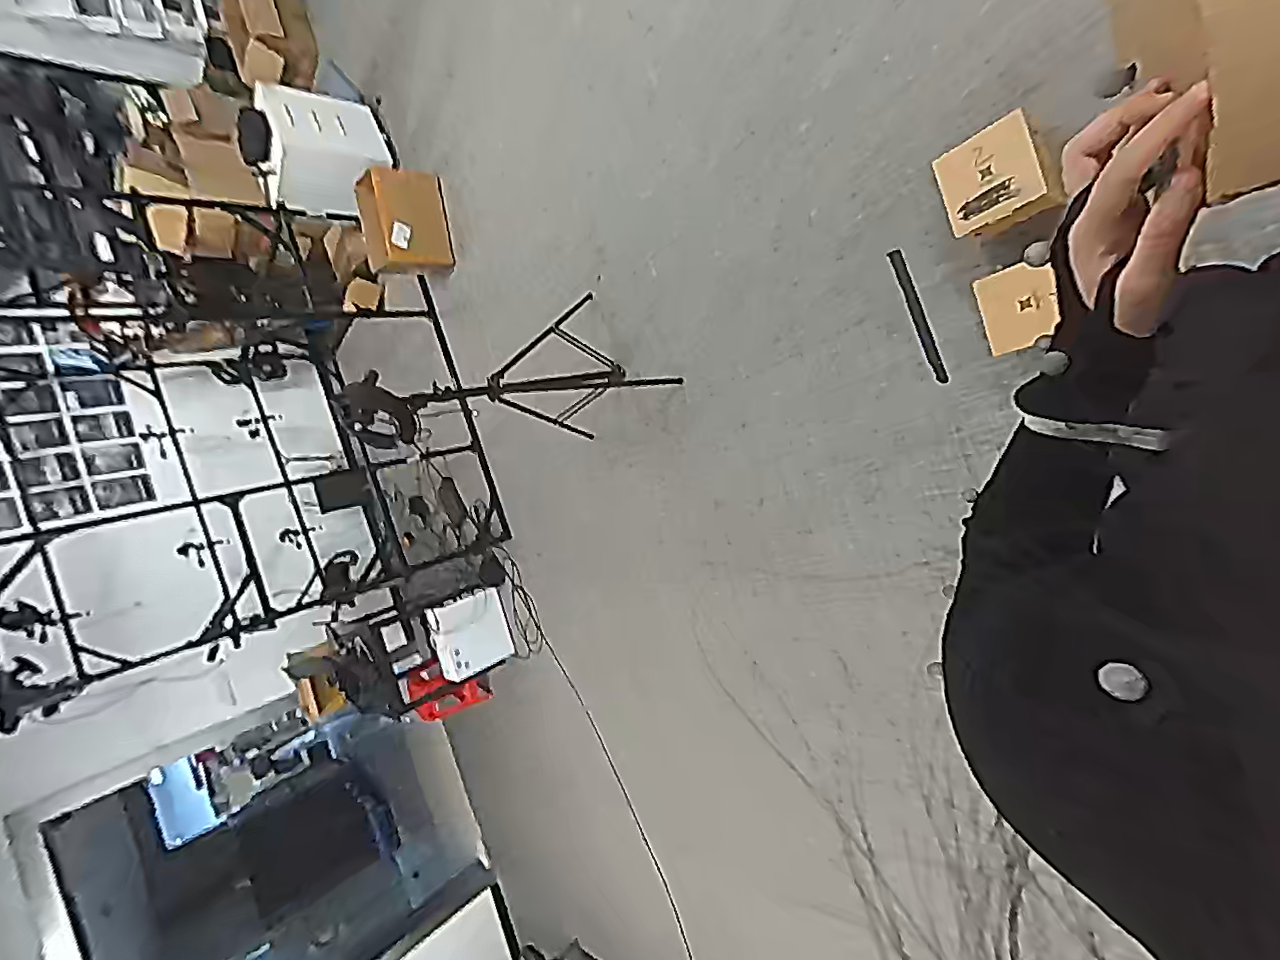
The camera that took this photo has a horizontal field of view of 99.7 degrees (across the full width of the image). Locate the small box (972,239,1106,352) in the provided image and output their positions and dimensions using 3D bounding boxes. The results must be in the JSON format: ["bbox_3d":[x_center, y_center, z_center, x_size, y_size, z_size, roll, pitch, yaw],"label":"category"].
[{"bbox_3d":[0.831,-0.377,1.126,0.179,0.176,0.168,-16,92,48],"label":"small box"}]
